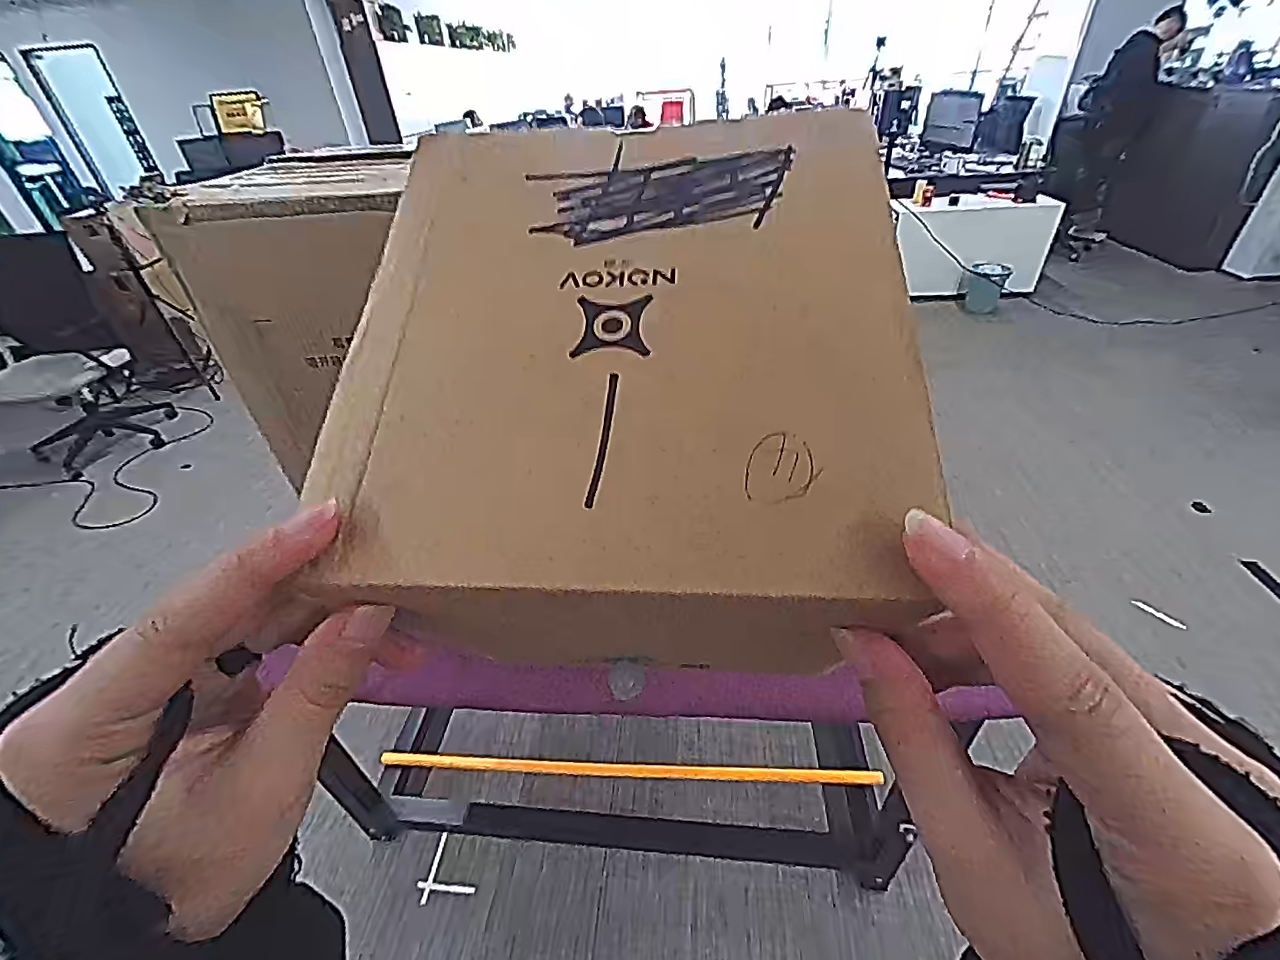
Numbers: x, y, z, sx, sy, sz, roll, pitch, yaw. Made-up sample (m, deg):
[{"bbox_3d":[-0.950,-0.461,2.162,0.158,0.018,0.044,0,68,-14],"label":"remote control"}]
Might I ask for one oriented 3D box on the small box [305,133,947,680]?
[{"bbox_3d":[0.004,-0.015,0.241,0.168,0.176,0.179,0,65,7],"label":"small box"}]
